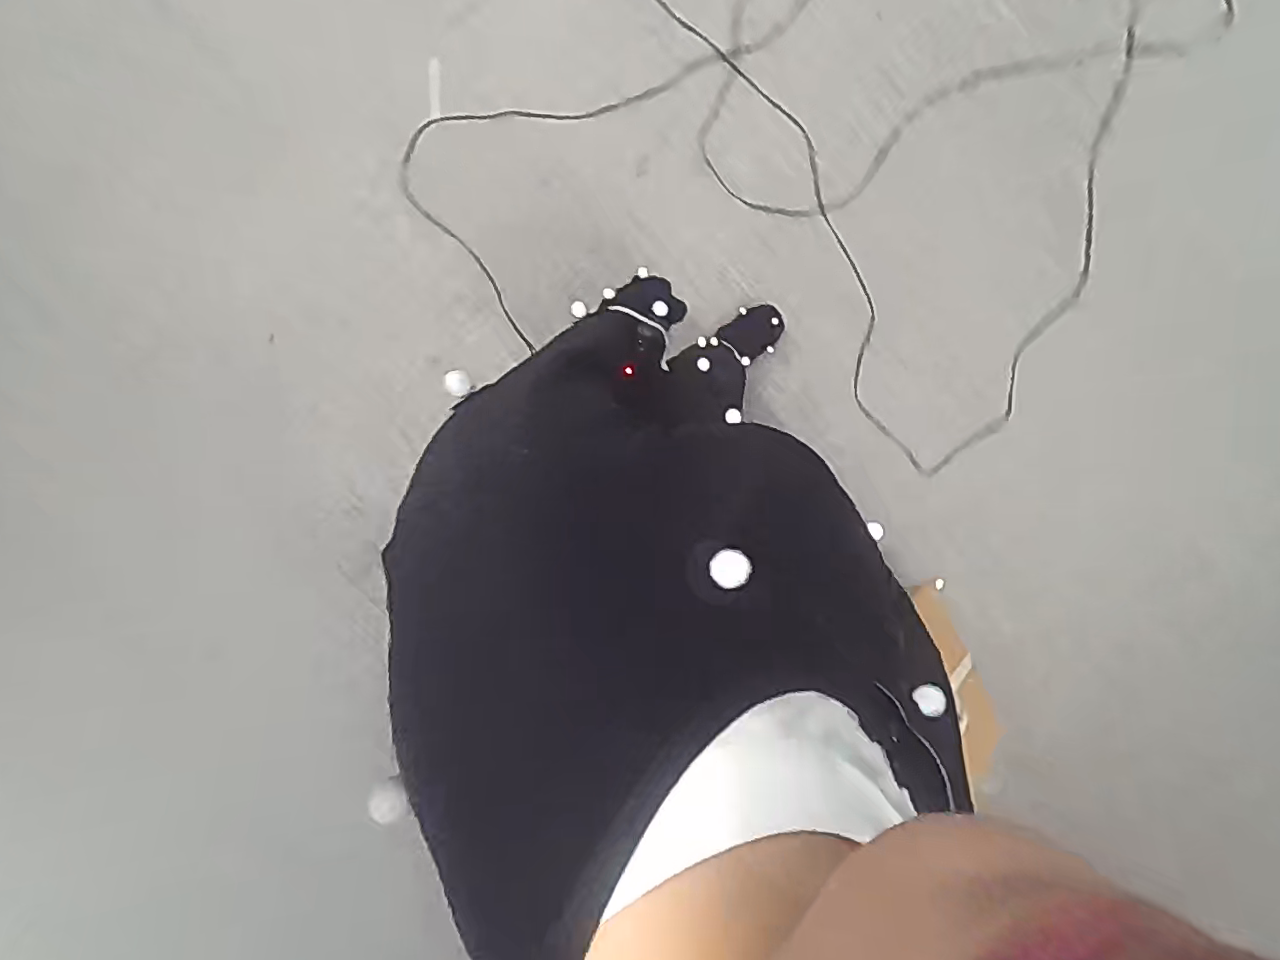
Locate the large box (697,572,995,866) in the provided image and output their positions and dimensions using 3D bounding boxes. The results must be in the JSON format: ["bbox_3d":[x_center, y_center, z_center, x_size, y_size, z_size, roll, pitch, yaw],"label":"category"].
[{"bbox_3d":[0.383,0.413,1.013,0.320,0.408,0.320,-29,81,47],"label":"large box"}]
